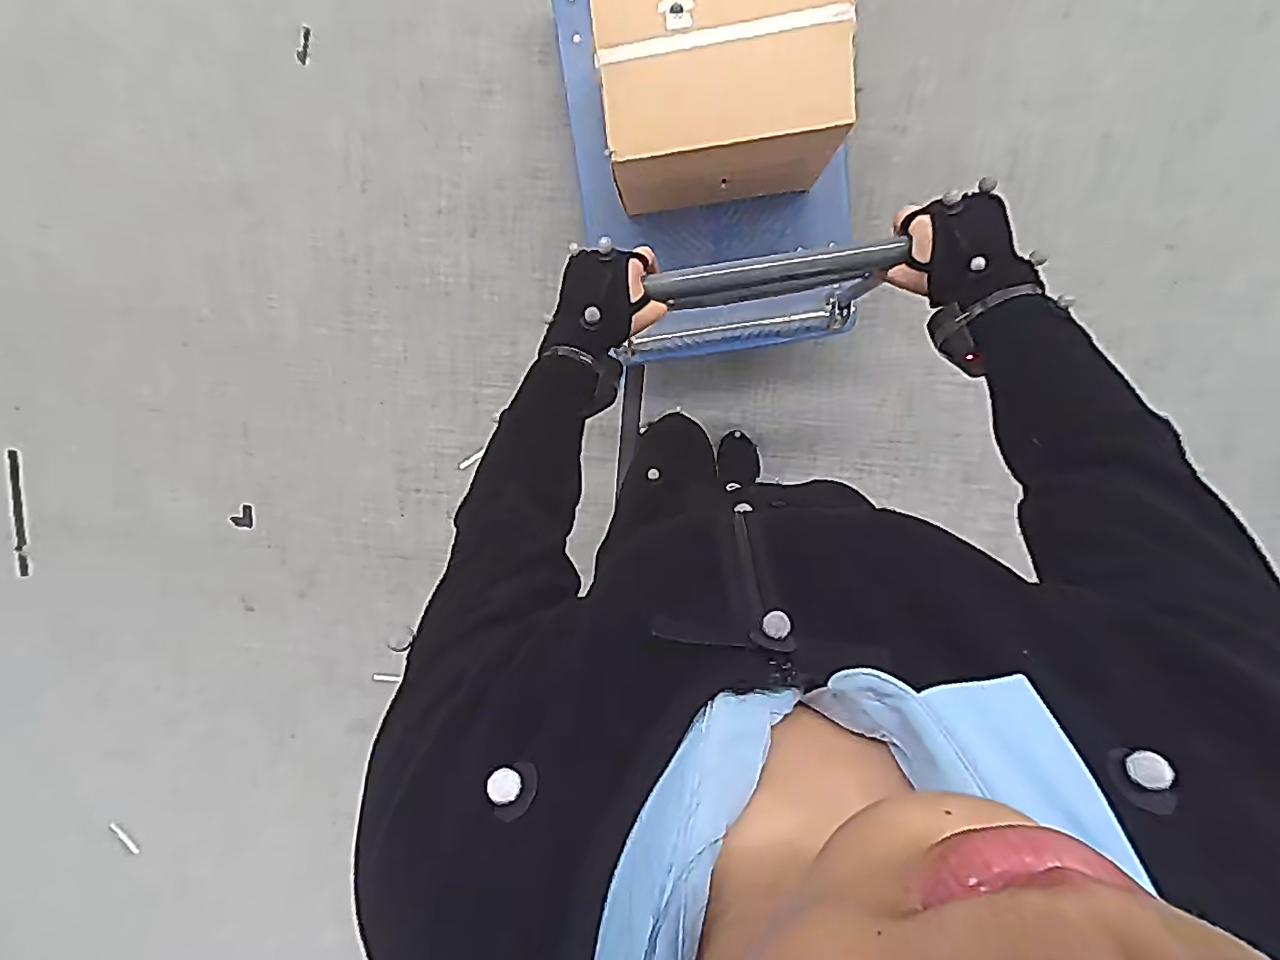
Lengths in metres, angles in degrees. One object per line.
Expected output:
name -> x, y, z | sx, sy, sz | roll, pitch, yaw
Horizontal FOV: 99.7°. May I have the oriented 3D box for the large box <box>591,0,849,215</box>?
large box -> 0.144, -0.740, 1.033 | 0.408, 0.320, 0.320 | -7, 99, 6
